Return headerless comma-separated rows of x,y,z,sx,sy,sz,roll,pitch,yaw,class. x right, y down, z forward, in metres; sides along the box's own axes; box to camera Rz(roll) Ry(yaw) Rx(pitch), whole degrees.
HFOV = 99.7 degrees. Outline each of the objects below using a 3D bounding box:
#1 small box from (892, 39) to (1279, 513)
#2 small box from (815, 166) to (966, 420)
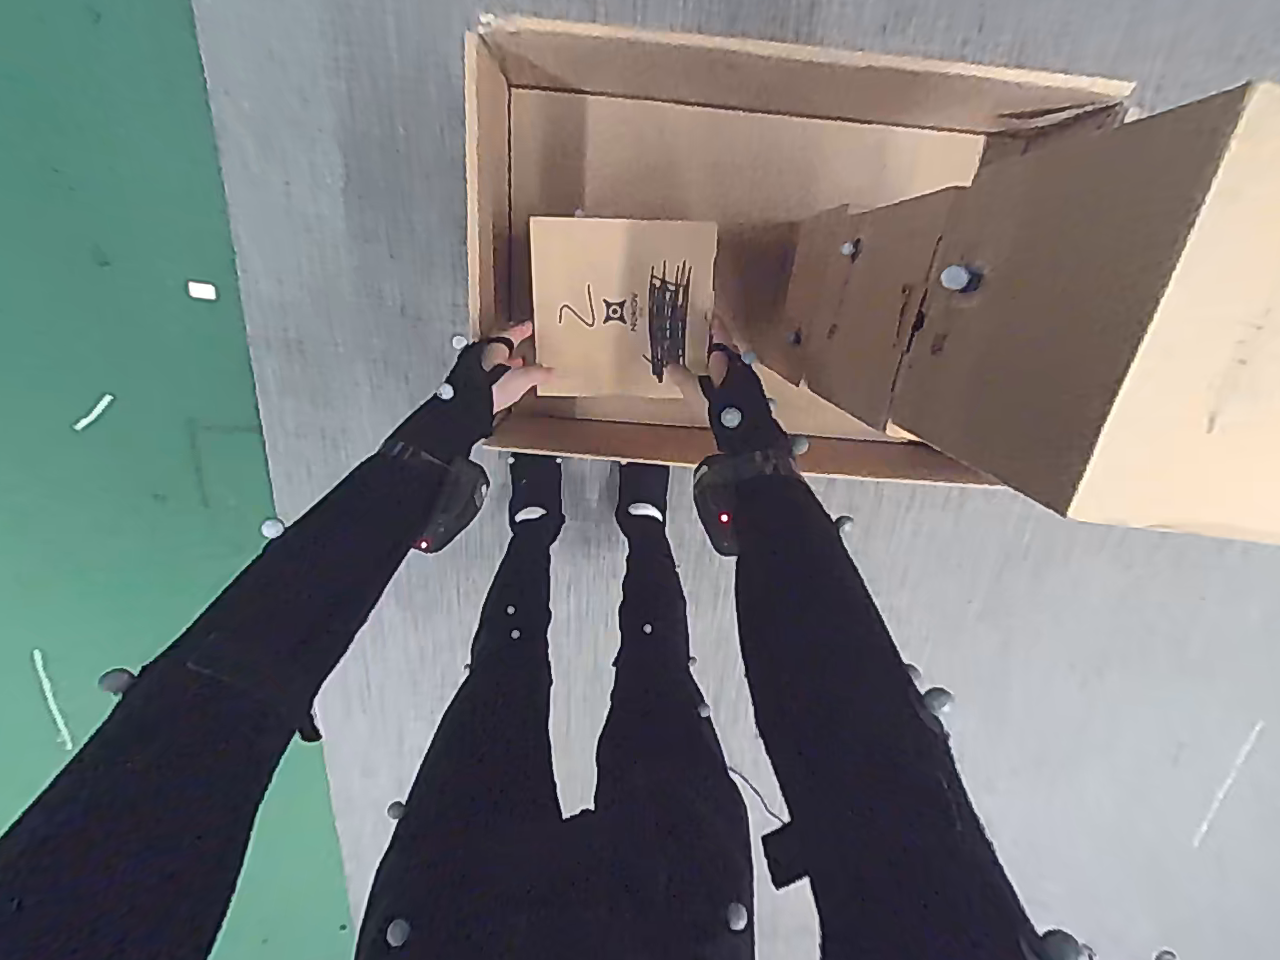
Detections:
0.273,-0.091,0.291,0.179,0.176,0.168,7,109,-3,small box
0.265,-0.139,0.447,0.179,0.176,0.168,7,110,-4,small box
